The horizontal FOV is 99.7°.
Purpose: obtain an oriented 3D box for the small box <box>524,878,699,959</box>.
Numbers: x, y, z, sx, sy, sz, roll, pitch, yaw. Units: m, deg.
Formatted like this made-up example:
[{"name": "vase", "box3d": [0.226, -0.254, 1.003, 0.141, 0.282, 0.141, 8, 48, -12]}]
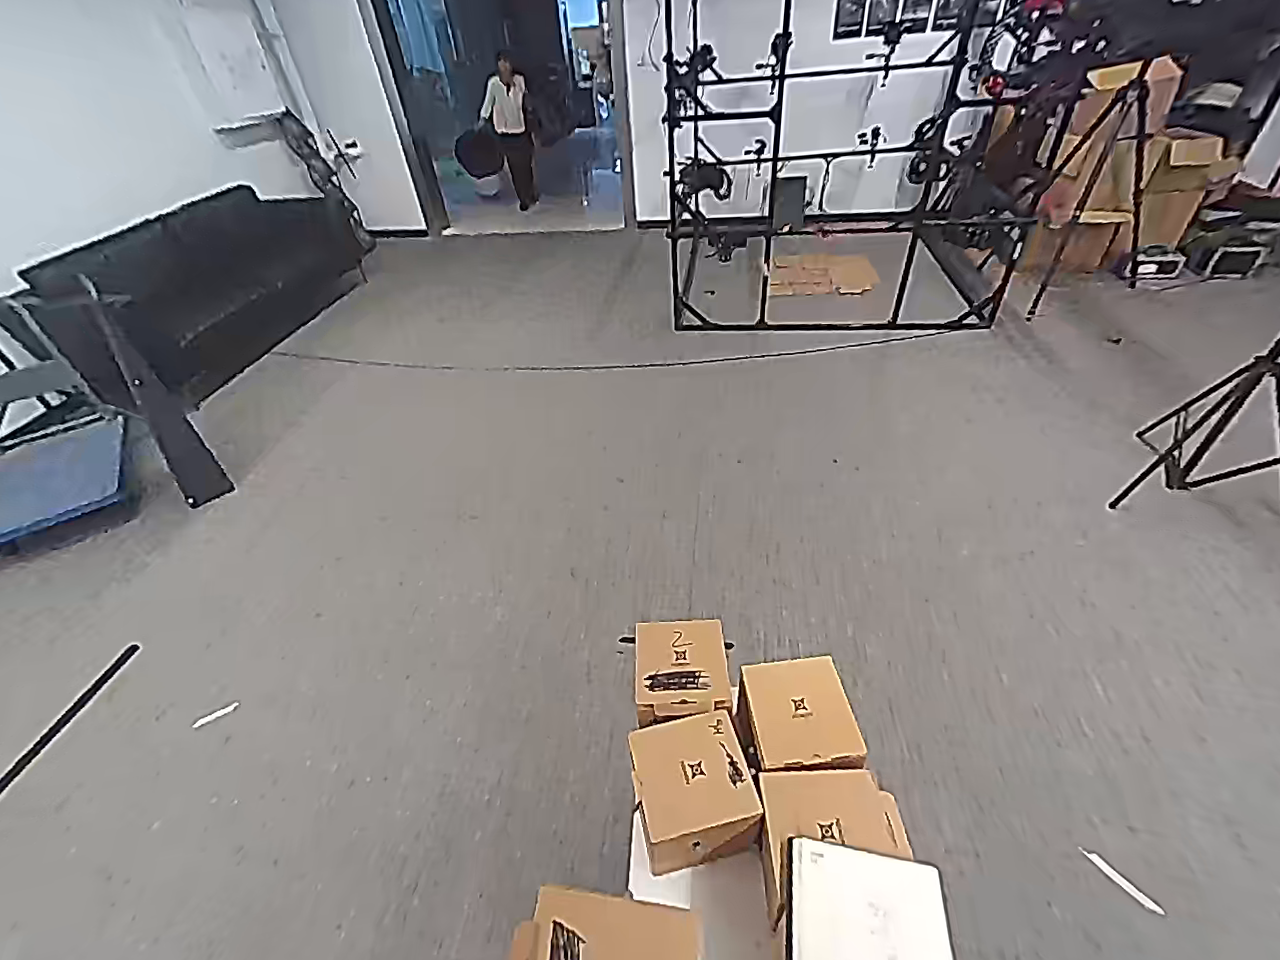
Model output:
[{"name": "small box", "box3d": [-0.037, 0.559, 0.587, 0.179, 0.176, 0.168, 8, 47, 3]}]
